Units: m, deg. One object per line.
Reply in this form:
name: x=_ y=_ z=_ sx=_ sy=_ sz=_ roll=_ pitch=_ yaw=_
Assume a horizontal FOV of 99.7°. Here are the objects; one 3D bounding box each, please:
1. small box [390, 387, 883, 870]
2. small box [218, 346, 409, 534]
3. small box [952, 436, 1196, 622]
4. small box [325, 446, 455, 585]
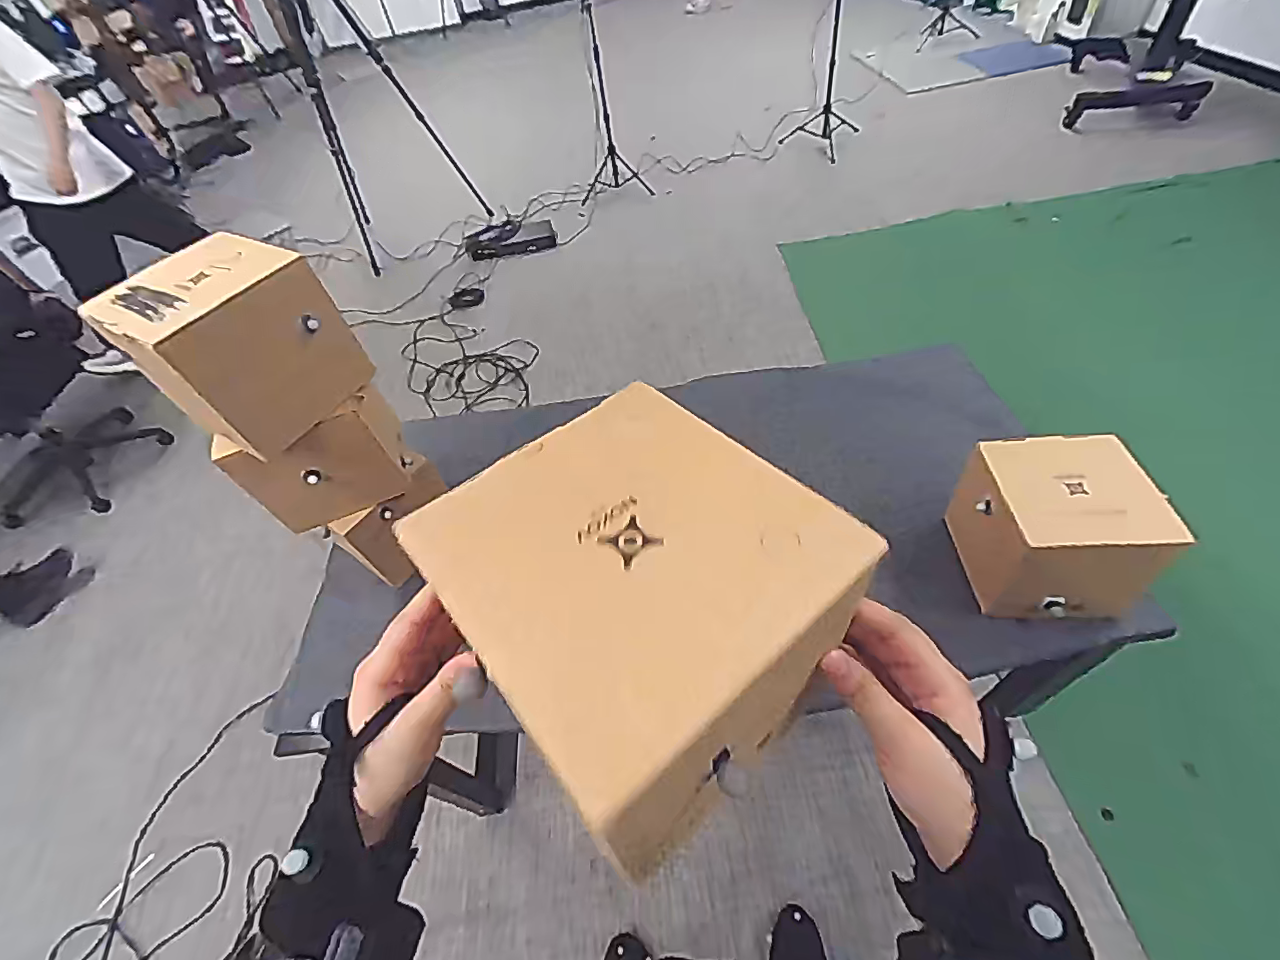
small box: x=-0.001 y=0.085 z=0.313 sx=0.168 sy=0.176 sz=0.179 roll=-36 pitch=55 yaw=-21
small box: x=-0.449 y=-0.054 z=0.772 sx=0.179 sy=0.176 sz=0.168 roll=-23 pitch=52 yaw=-8
small box: x=0.533 y=0.065 z=0.702 sx=0.168 sy=0.176 sz=0.179 roll=-3 pitch=47 yaw=10
small box: x=-0.427 y=0.046 z=0.902 sx=0.179 sy=0.176 sz=0.168 roll=25 pitch=60 yaw=27
